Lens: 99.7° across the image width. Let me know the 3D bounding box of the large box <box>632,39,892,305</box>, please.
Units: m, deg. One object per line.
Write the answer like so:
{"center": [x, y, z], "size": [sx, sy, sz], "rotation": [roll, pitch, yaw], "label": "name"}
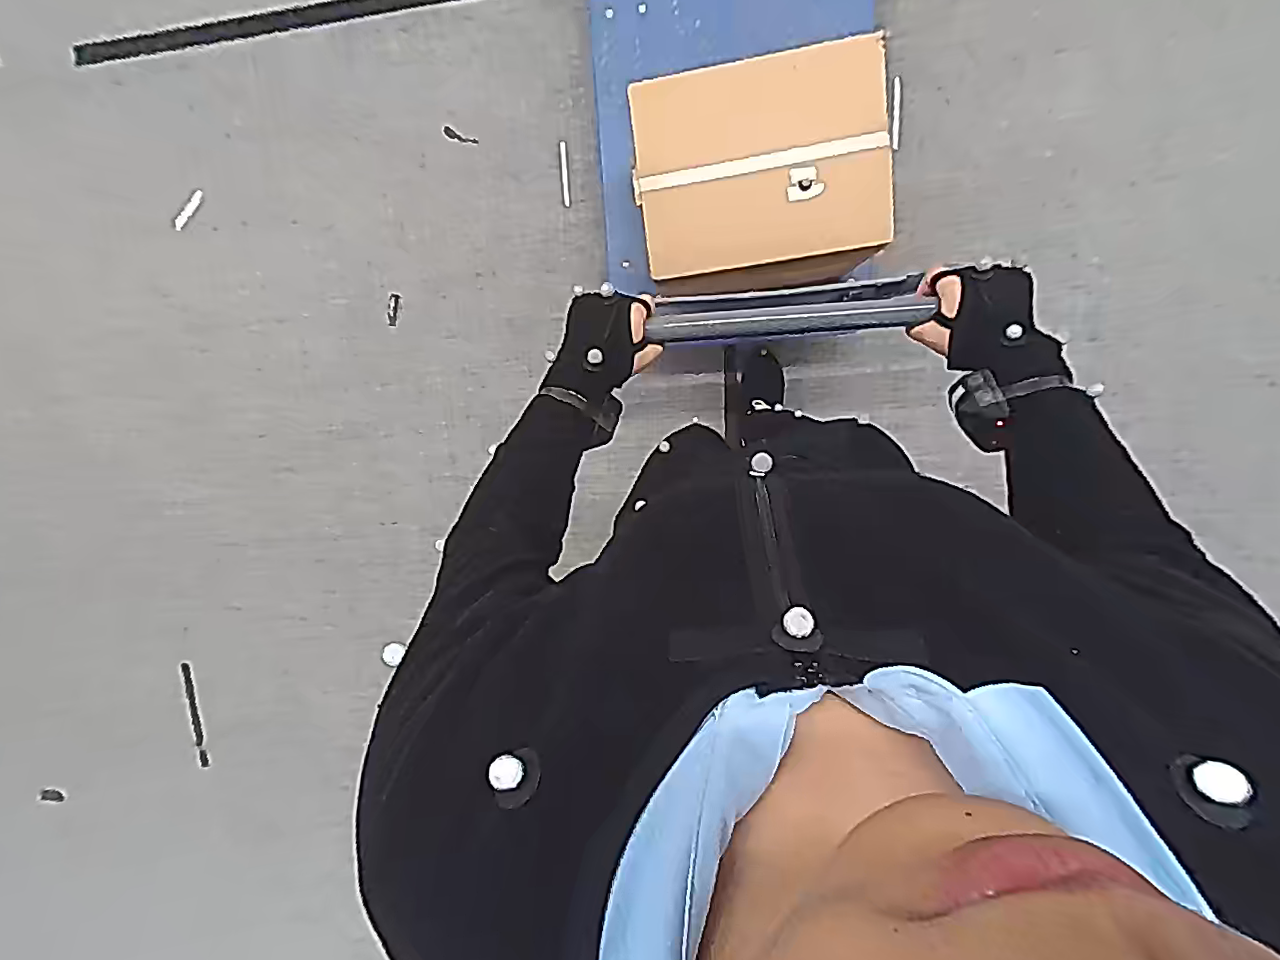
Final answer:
{"center": [0.215, -0.545, 1.040], "size": [0.408, 0.320, 0.320], "rotation": [-7, 101, 7], "label": "large box"}
